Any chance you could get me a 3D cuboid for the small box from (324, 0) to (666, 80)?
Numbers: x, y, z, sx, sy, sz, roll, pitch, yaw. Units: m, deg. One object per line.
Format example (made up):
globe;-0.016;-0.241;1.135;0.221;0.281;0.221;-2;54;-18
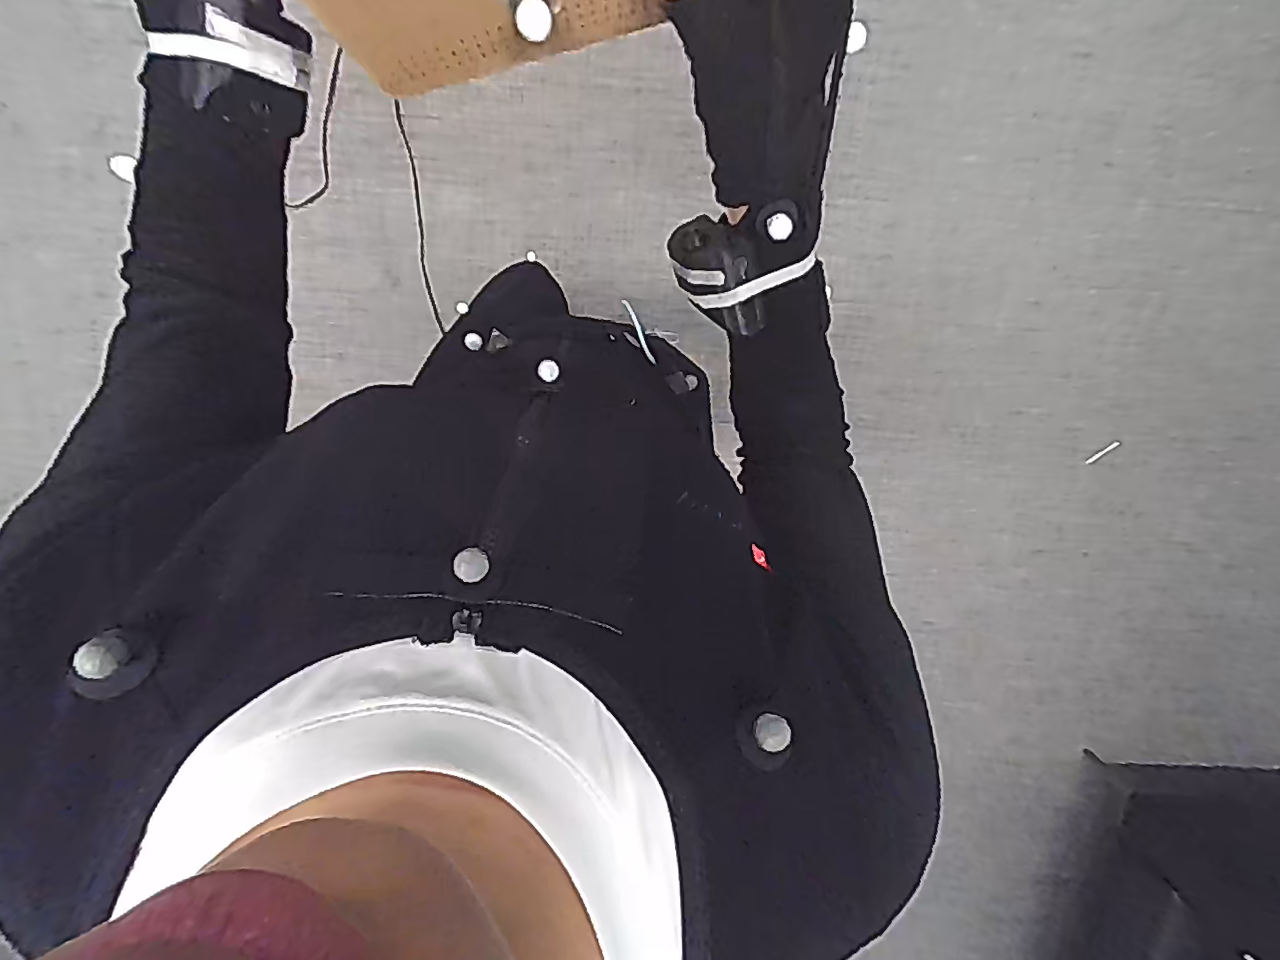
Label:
small box;-0.069;-0.295;0.196;0.179;0.176;0.168;-13;95;4
